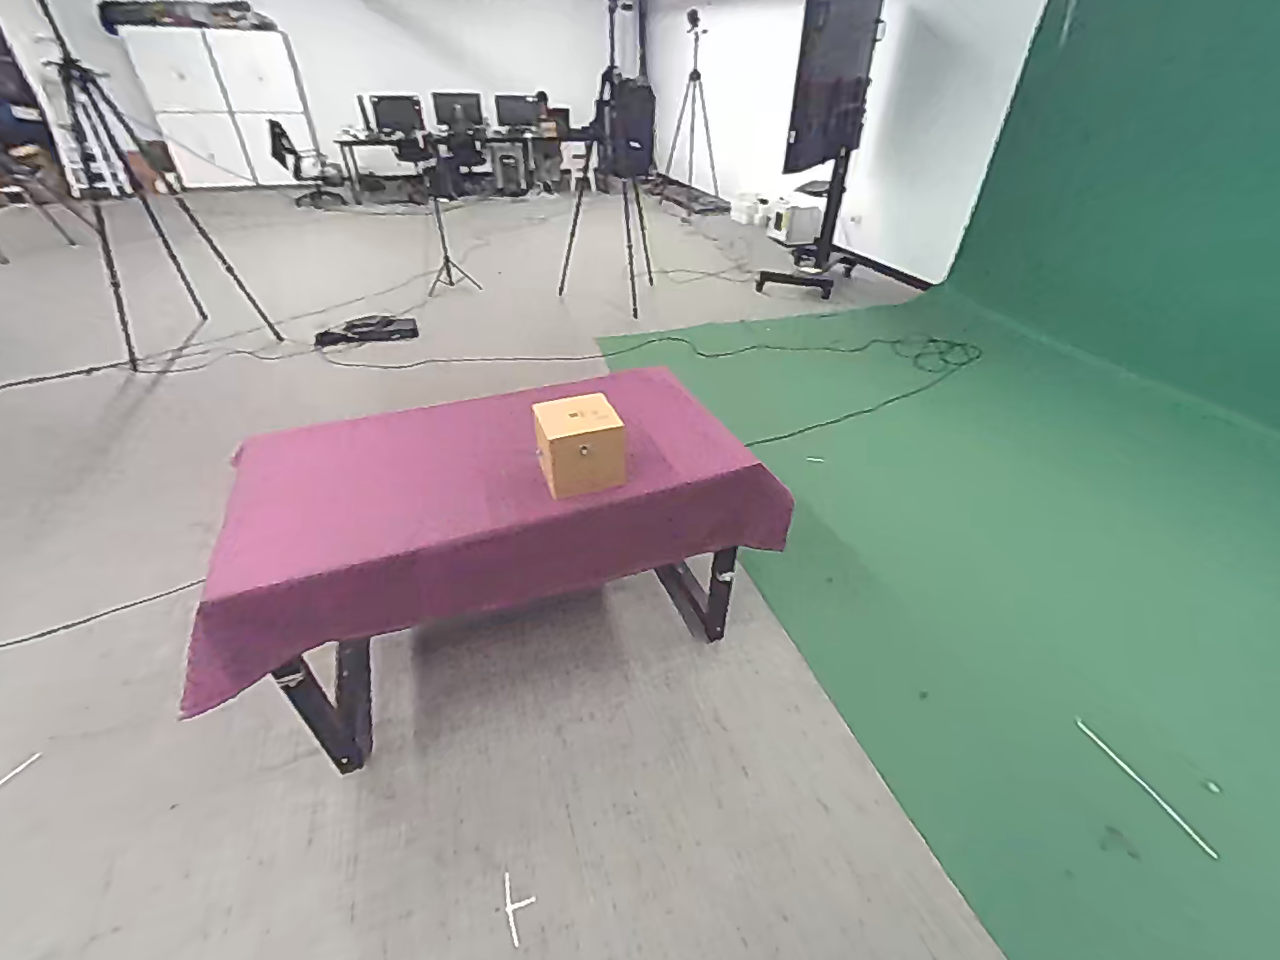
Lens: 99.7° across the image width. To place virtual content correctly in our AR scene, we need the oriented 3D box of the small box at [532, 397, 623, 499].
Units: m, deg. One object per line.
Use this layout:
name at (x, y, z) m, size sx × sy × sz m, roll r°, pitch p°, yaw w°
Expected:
small box at (-0.145, -0.074, 1.278) m, size 0.179 × 0.176 × 0.168 m, roll -12°, pitch 39°, yaw -16°
